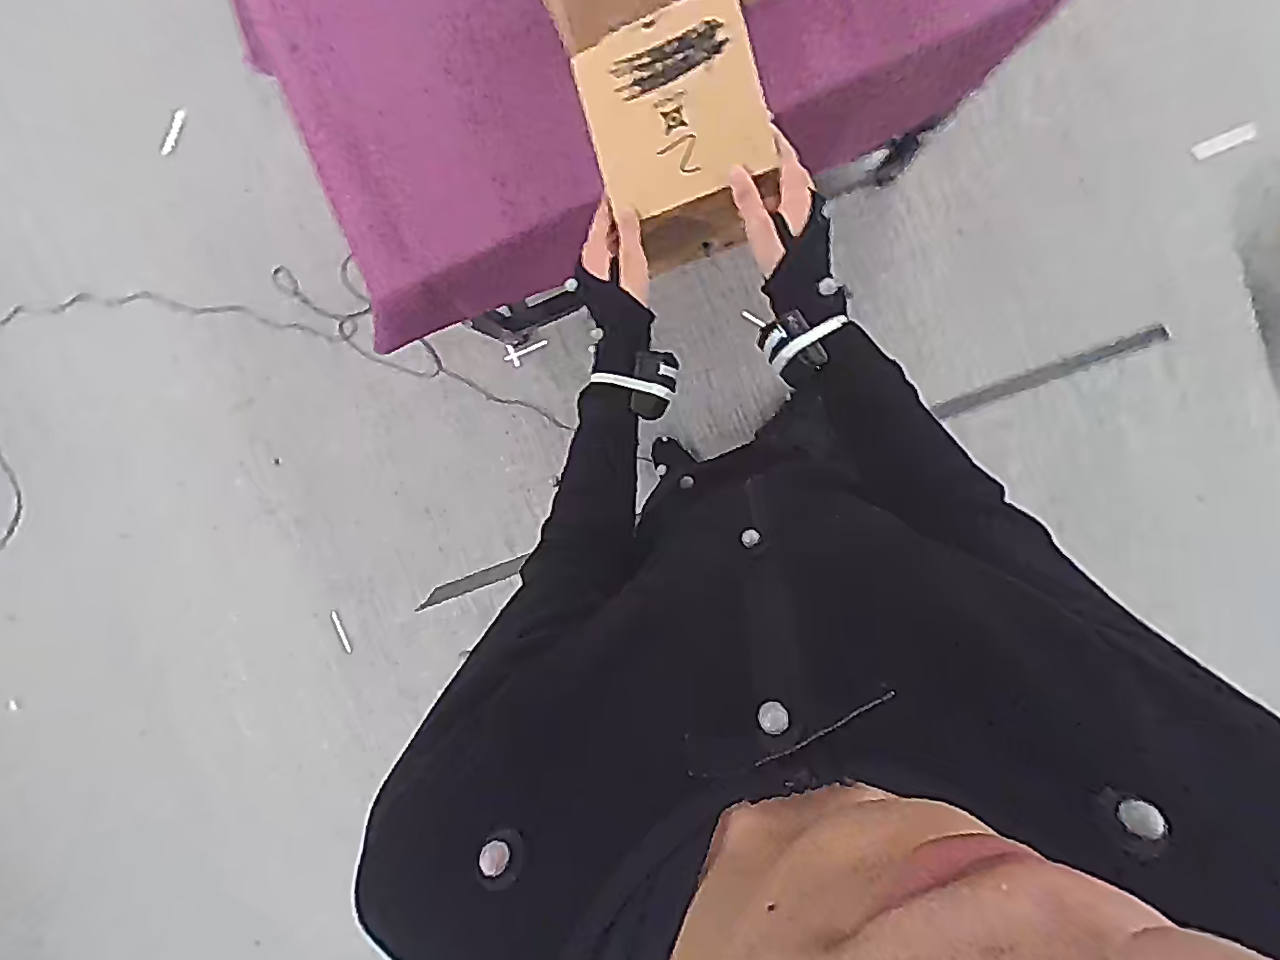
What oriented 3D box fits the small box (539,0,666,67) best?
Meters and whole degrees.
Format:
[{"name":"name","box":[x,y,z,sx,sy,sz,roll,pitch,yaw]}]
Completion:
[{"name":"small box","box":[-0.073,-0.733,0.742,0.168,0.176,0.179,-26,94,7]}]
